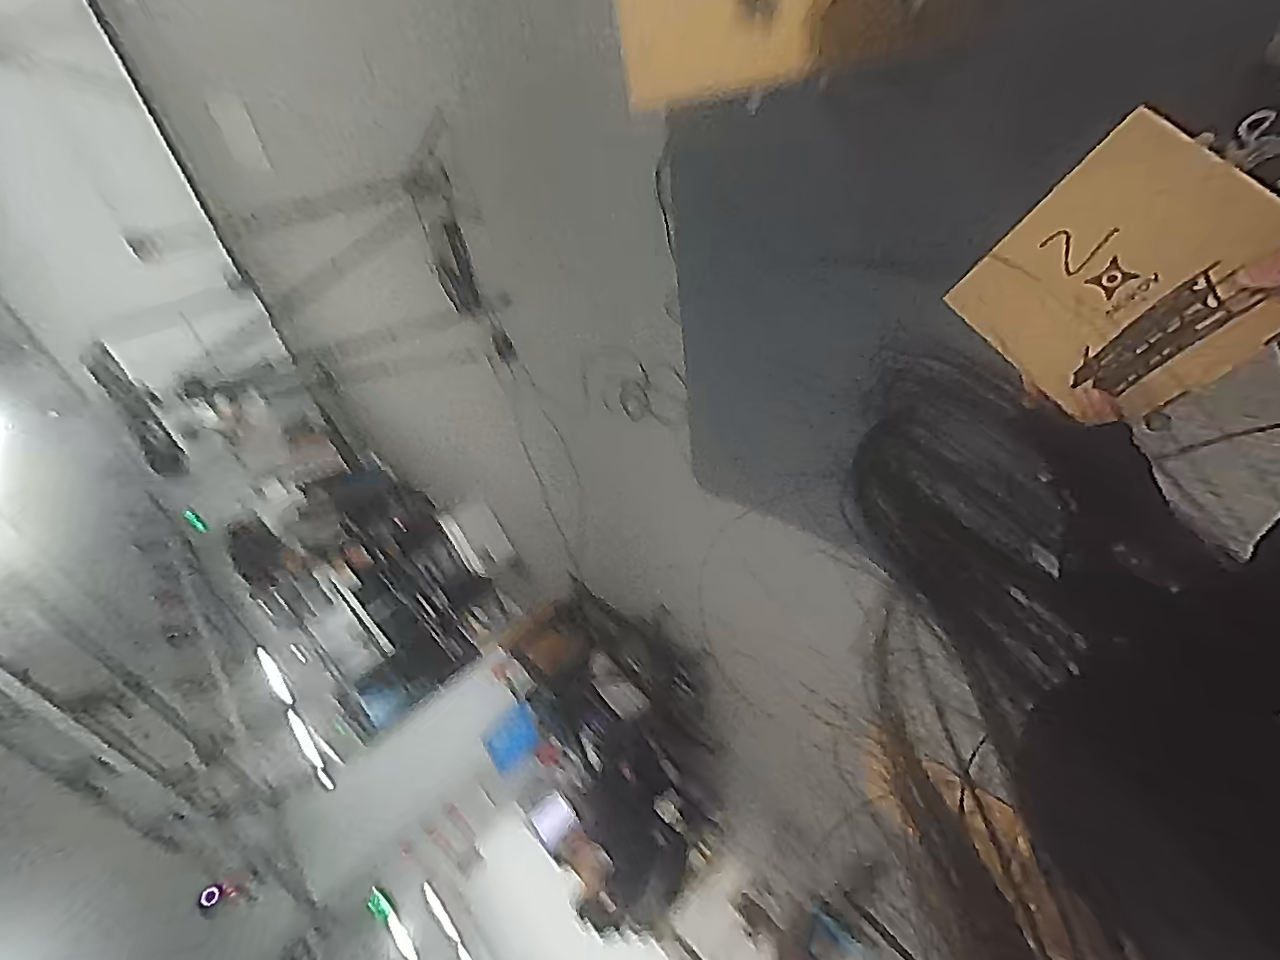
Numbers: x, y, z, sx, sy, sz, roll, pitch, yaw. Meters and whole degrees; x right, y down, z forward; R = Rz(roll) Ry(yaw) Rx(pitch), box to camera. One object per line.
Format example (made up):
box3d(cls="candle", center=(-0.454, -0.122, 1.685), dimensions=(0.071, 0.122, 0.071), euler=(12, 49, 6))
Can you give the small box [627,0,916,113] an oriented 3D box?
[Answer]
box3d(cls="small box", center=(0.105, -0.407, 0.424), dimensions=(0.179, 0.176, 0.168), euler=(25, 138, 42))
